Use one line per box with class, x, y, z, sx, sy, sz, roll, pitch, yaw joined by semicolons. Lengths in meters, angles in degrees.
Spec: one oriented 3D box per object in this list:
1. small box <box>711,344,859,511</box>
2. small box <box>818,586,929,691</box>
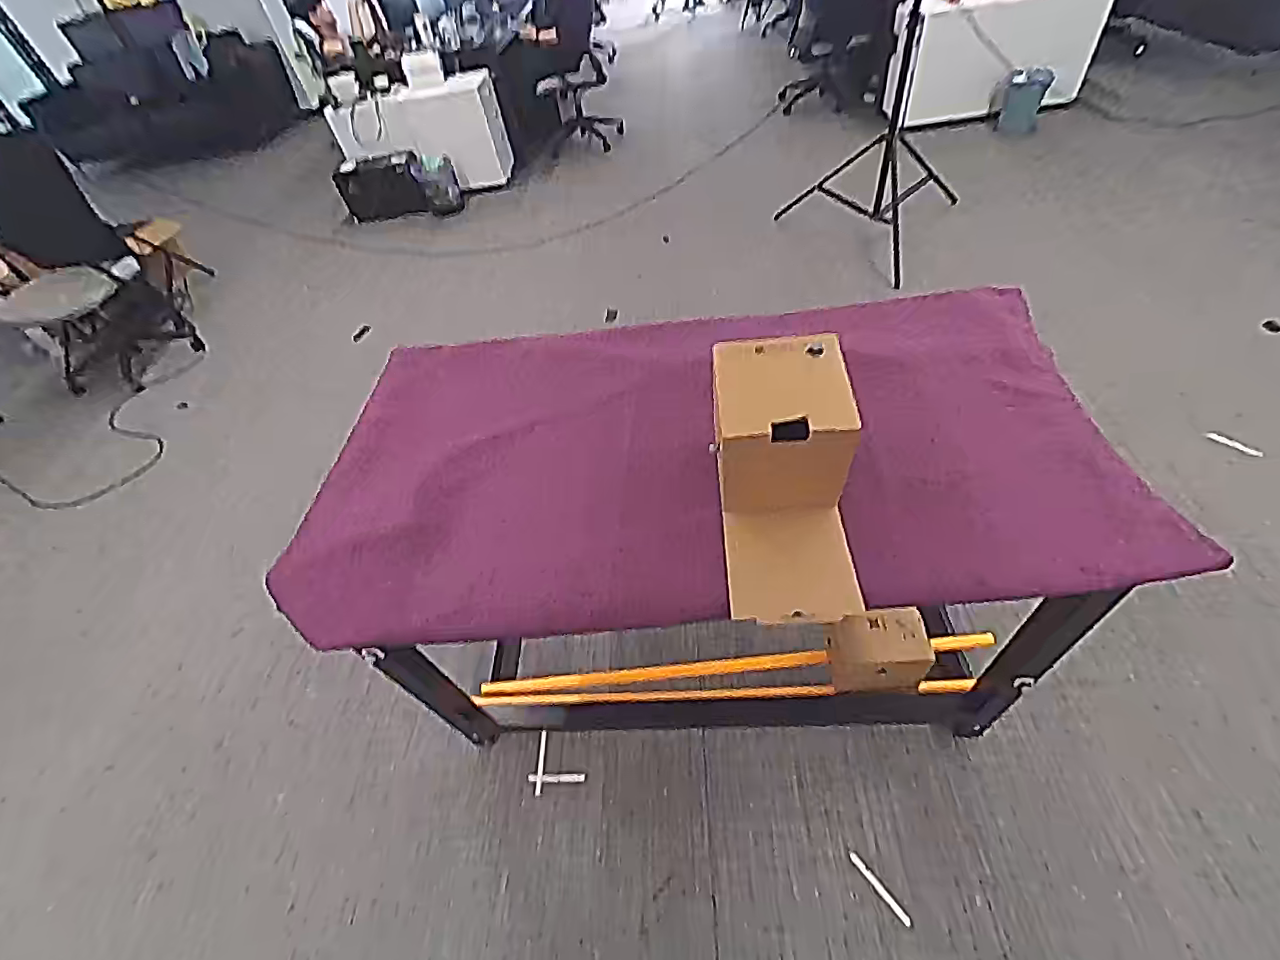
small box;0.187;-0.075;0.754;0.168;0.179;0.176;-3;56;6
small box;0.493;0.349;1.175;0.179;0.176;0.168;-6;49;6
